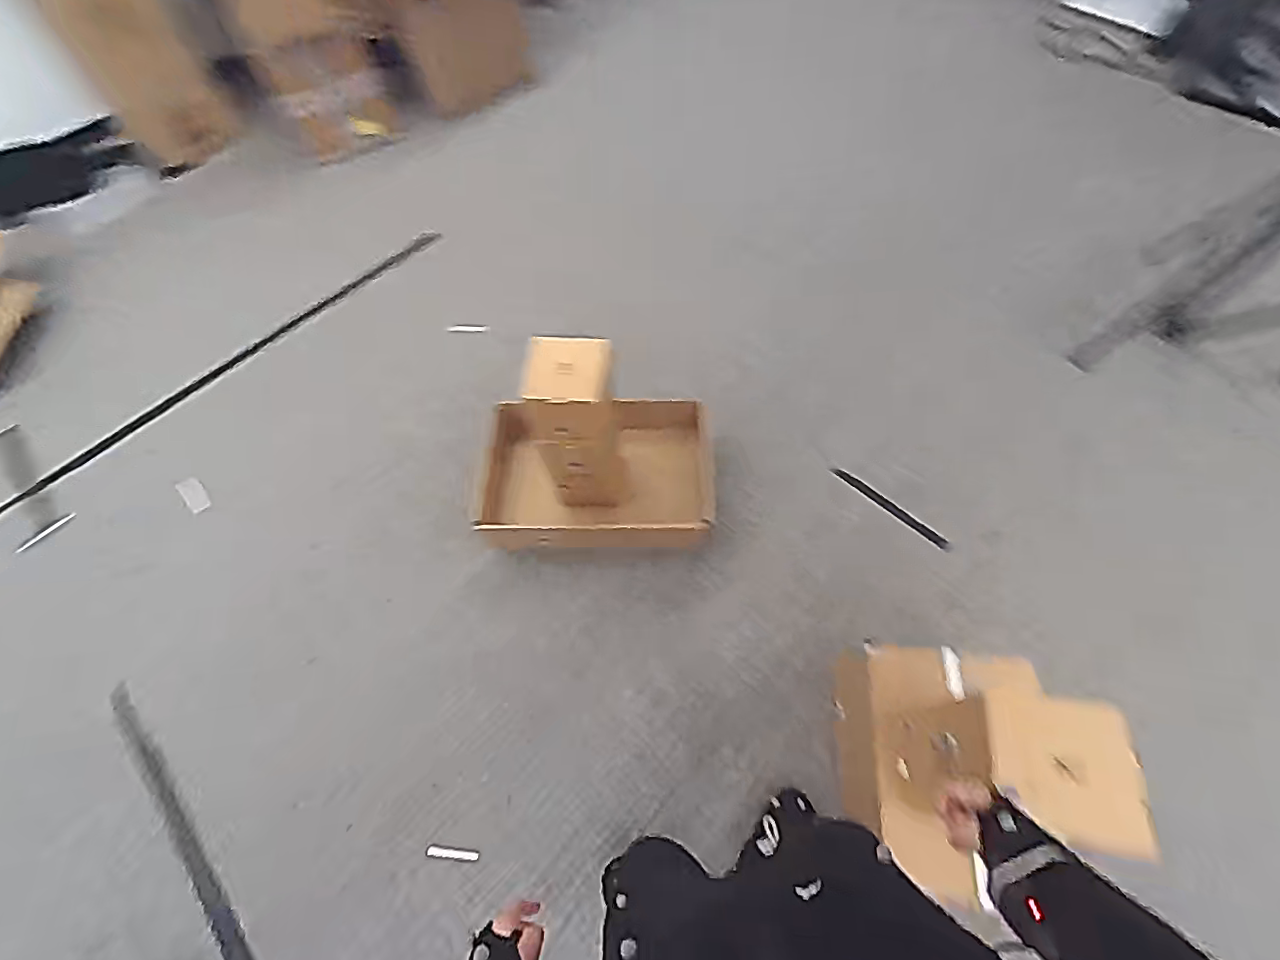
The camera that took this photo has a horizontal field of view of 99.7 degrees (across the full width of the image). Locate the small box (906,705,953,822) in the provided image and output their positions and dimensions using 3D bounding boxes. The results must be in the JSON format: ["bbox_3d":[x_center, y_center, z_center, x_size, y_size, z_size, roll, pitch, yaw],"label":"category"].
[{"bbox_3d":[0.560,0.481,0.899,0.179,0.176,0.168,5,64,6],"label":"small box"}]

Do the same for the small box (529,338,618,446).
[{"bbox_3d":[-0.143,-0.199,1.236,0.168,0.176,0.179,4,62,5],"label":"small box"}]

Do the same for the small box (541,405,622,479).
[{"bbox_3d":[-0.141,-0.115,1.376,0.168,0.176,0.179,5,63,5],"label":"small box"}]

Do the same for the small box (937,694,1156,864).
[{"bbox_3d":[0.545,0.408,0.755,0.179,0.176,0.168,7,63,8],"label":"small box"}]
